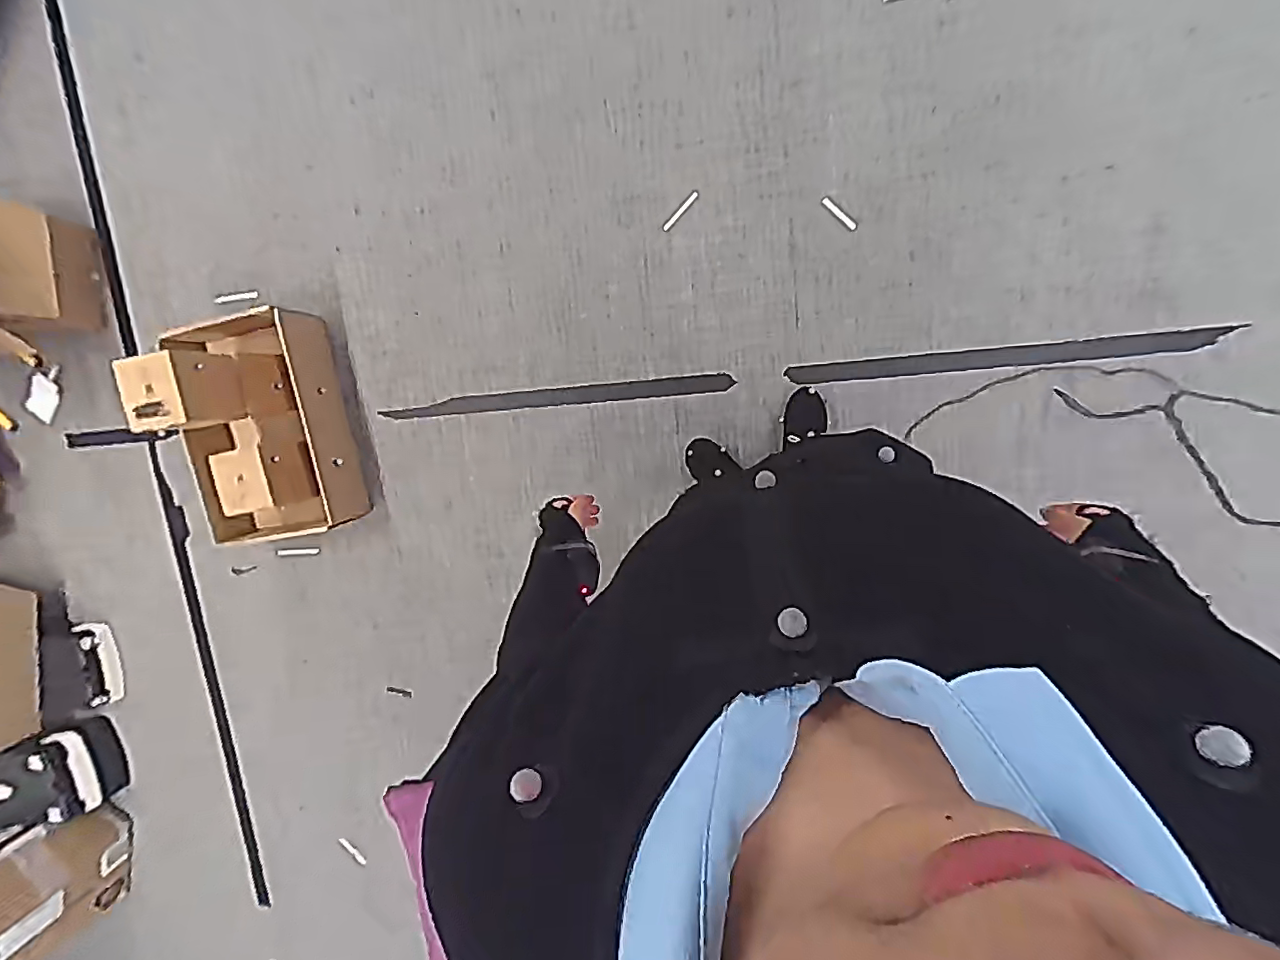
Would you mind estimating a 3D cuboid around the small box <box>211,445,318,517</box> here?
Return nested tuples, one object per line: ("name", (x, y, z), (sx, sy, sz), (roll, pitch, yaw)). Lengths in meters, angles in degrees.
("small box", (-1.077, -0.004, 1.563), (0.168, 0.176, 0.179), (-11, 96, 12))

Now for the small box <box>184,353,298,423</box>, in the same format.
("small box", (-1.124, -0.258, 1.534), (0.179, 0.176, 0.168), (-9, 98, 10))
